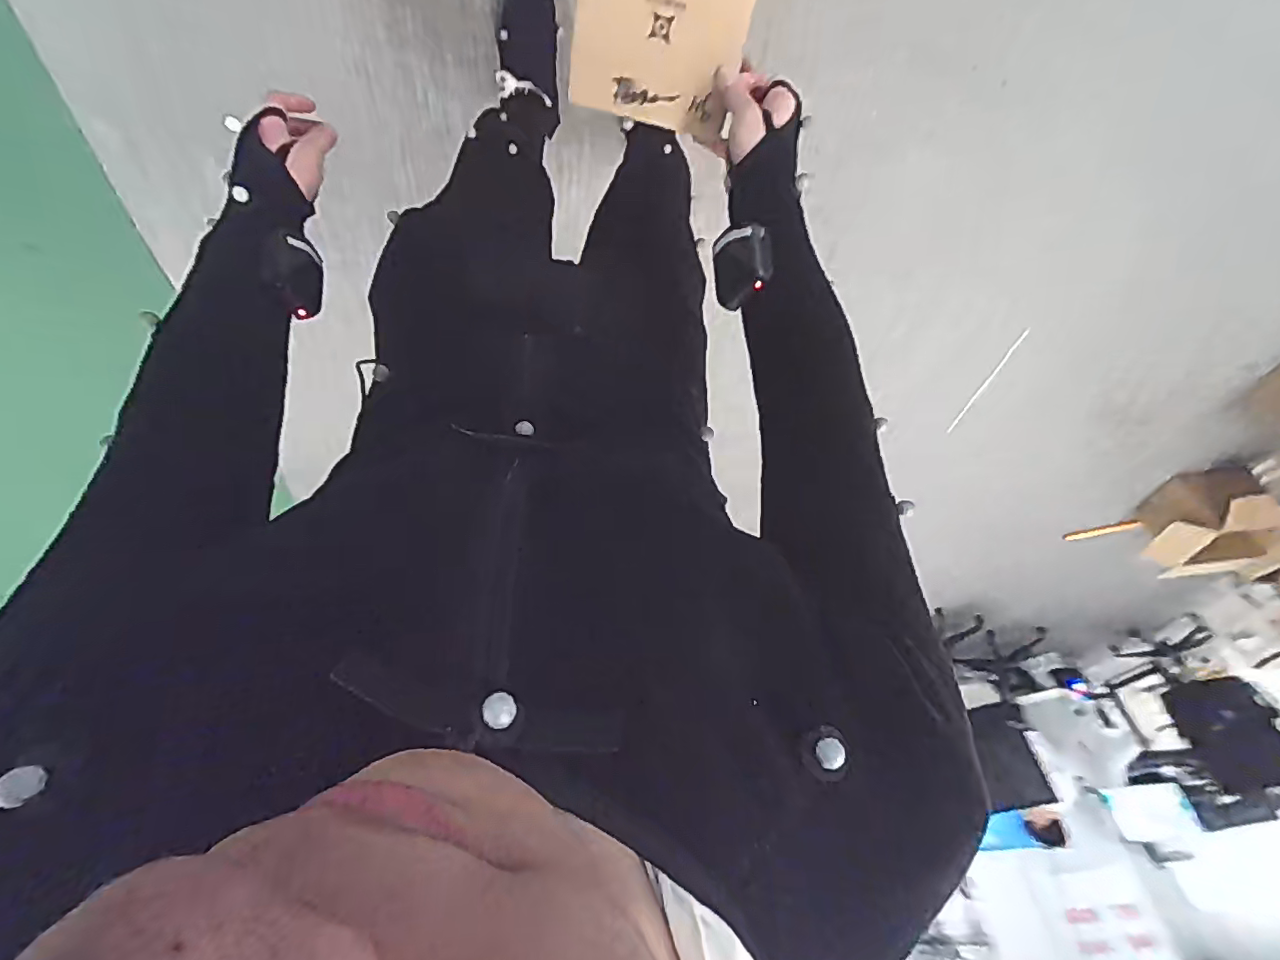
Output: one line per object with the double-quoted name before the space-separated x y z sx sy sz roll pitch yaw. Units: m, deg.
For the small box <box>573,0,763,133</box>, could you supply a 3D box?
"small box" 0.031 -0.493 0.559 0.168 0.176 0.179 11 132 -6
